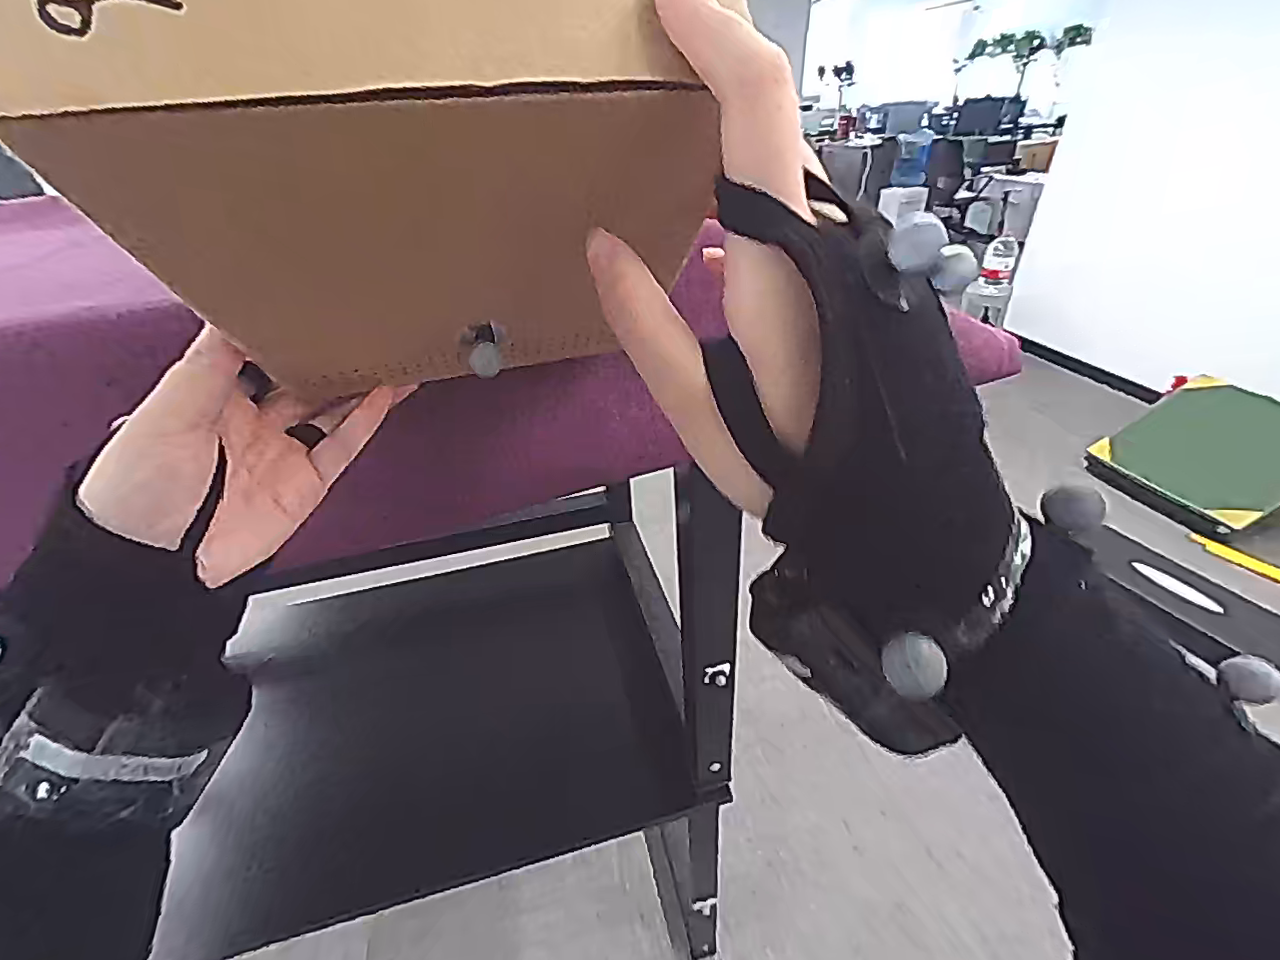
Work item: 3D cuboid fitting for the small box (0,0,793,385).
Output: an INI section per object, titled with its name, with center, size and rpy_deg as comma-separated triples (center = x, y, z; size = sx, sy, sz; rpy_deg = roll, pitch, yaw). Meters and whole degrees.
[small box]
center = -0.077, -0.151, 0.208
size = 0.179, 0.168, 0.176
rpy_deg = -12, -9, -16
